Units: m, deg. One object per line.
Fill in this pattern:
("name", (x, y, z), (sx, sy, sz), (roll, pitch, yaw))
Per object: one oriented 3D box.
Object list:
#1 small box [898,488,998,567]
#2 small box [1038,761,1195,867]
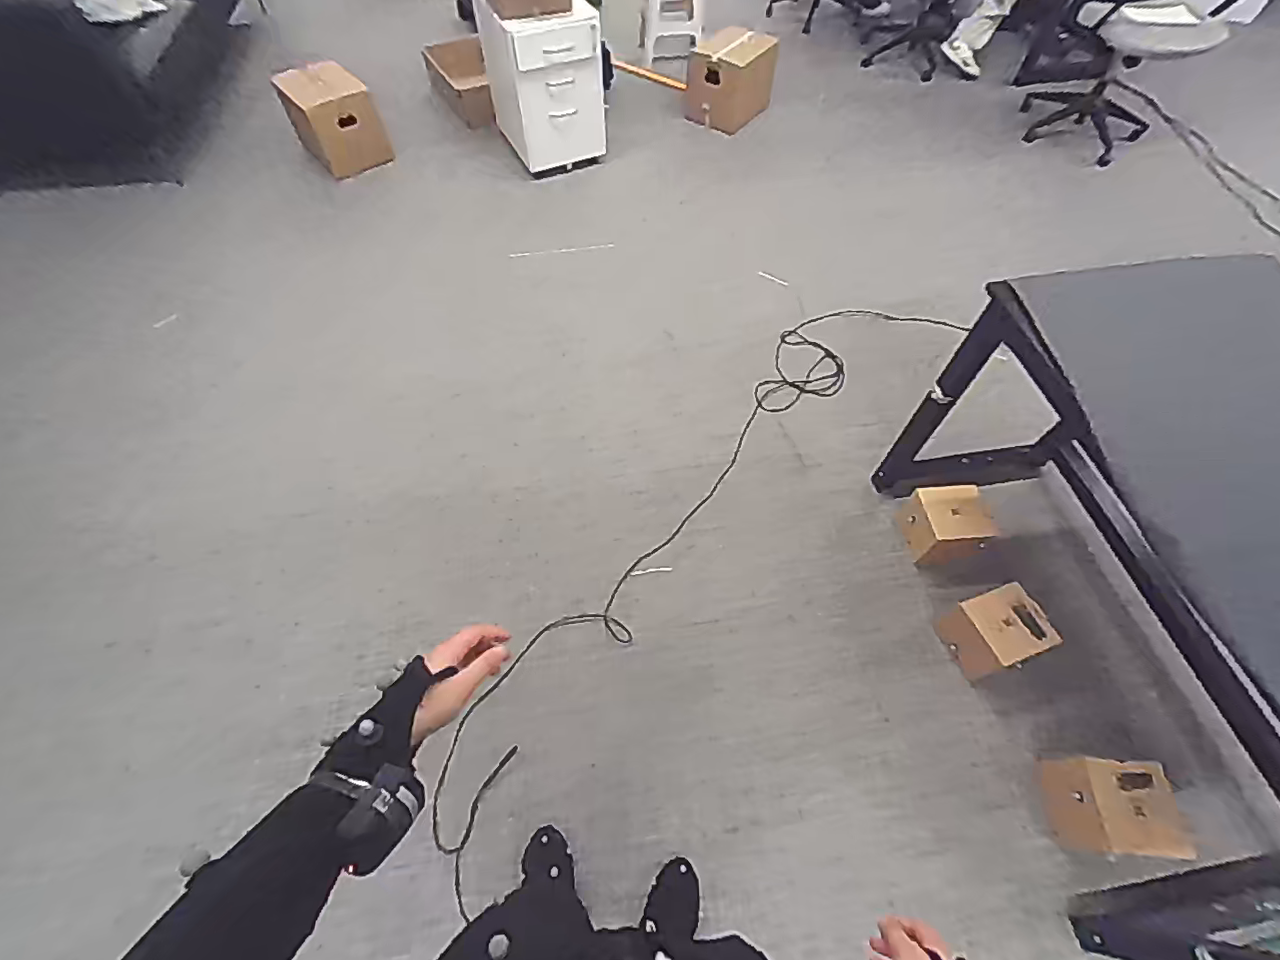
("small box", (0.866, 0.140, 1.547), (0.179, 0.176, 0.168), (-3, 57, -3))
("small box", (1.016, 0.721, 1.175), (0.168, 0.176, 0.179), (4, 59, 2))
